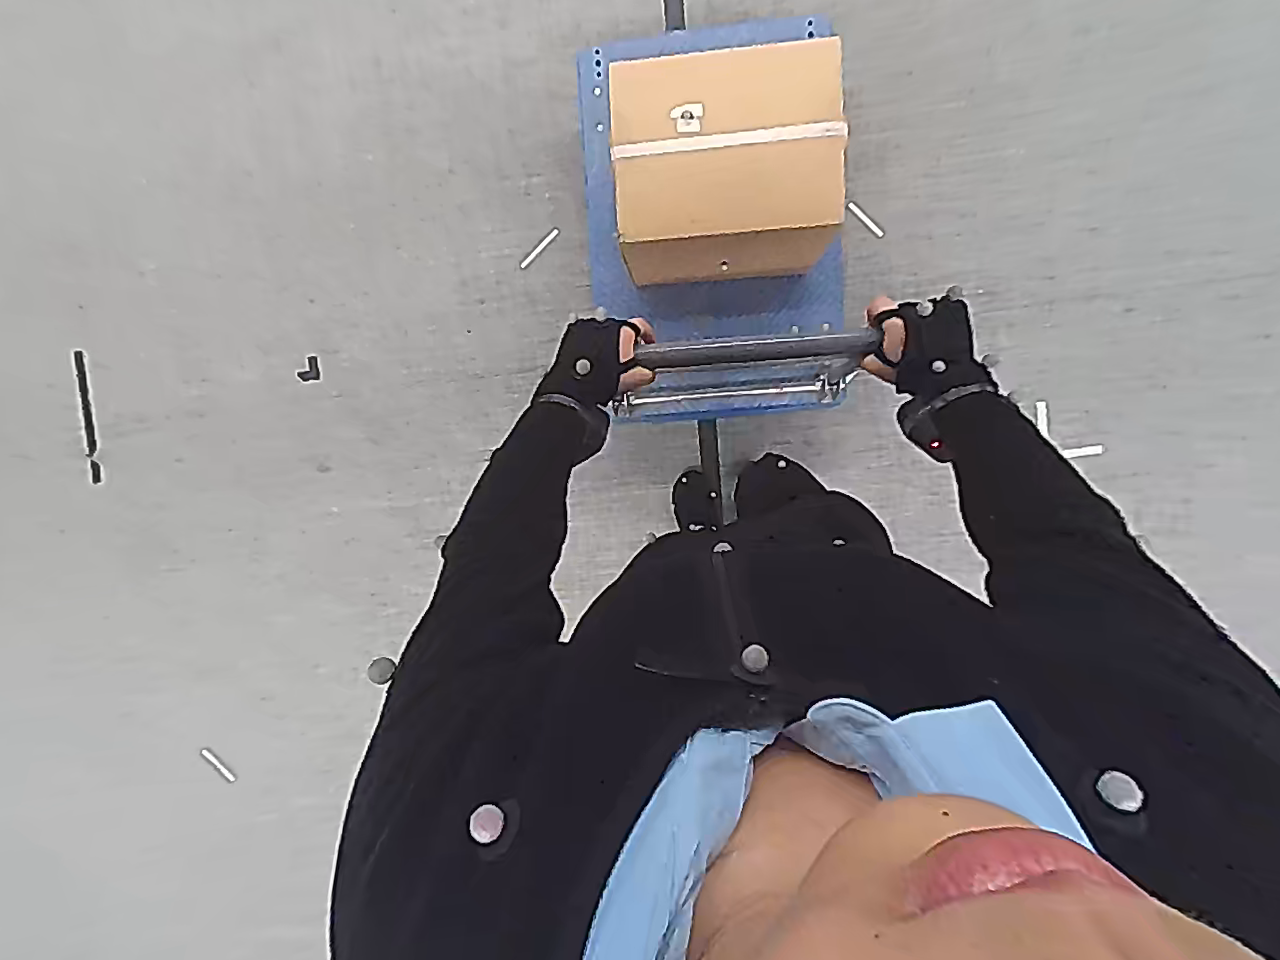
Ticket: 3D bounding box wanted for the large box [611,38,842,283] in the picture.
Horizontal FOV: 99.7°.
[{"bbox_3d":[0.171,-0.621,1.124,0.408,0.320,0.320,-3,94,7],"label":"large box"}]
